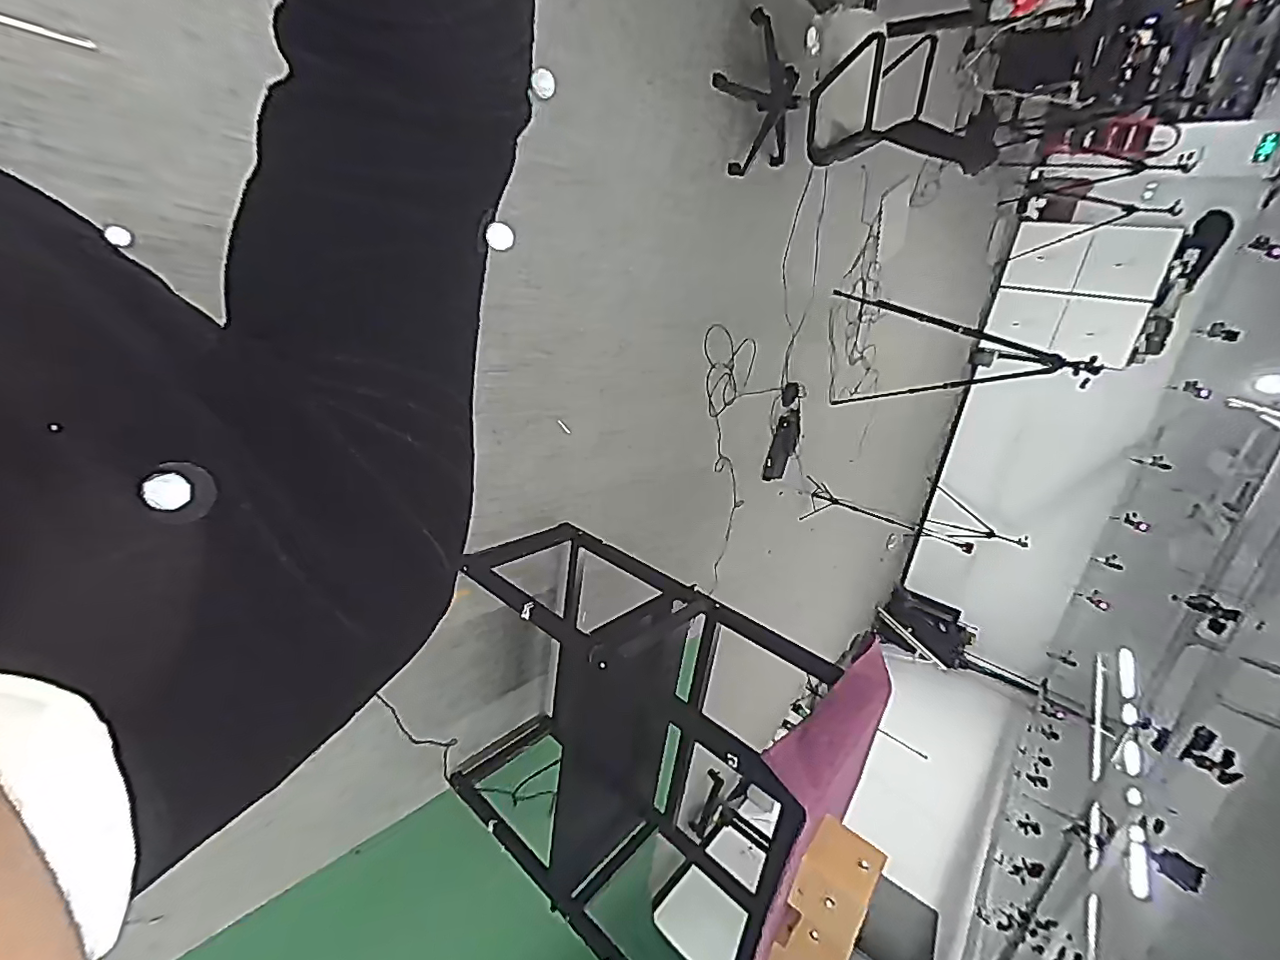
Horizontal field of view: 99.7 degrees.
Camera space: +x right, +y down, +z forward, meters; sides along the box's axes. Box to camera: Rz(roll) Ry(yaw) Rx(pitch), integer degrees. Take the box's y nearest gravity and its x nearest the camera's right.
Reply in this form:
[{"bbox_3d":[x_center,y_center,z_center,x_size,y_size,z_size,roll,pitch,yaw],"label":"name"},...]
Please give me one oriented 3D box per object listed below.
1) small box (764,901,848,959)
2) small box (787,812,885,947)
[{"bbox_3d":[0.450,1.296,1.474,0.168,0.176,0.179,-14,119,-49],"label":"small box"},{"bbox_3d":[0.495,1.006,1.378,0.179,0.176,0.168,-16,120,-50],"label":"small box"}]
